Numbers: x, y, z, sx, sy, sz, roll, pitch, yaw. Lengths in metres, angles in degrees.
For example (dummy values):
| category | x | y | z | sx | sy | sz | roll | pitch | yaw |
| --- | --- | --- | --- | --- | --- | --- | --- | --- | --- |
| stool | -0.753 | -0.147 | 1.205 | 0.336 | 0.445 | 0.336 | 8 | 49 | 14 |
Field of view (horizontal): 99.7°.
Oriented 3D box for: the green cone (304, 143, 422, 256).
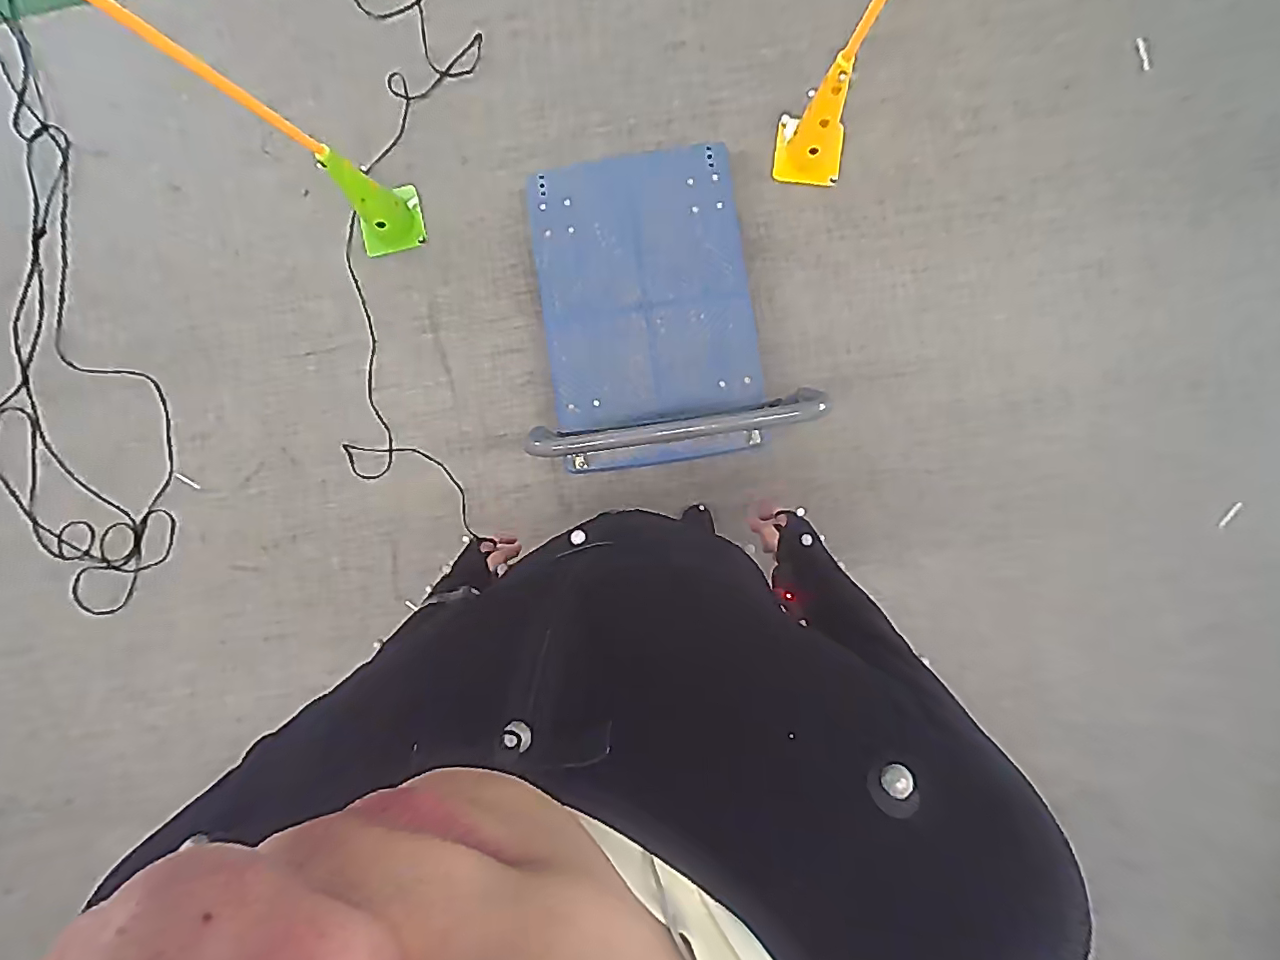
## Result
| category | x | y | z | sx | sy | sz | roll | pitch | yaw |
| --- | --- | --- | --- | --- | --- | --- | --- | --- | --- |
| green cone | -0.814 | -0.834 | 1.545 | 0.202 | 0.368 | 0.200 | -13 | 87 | 4 |
